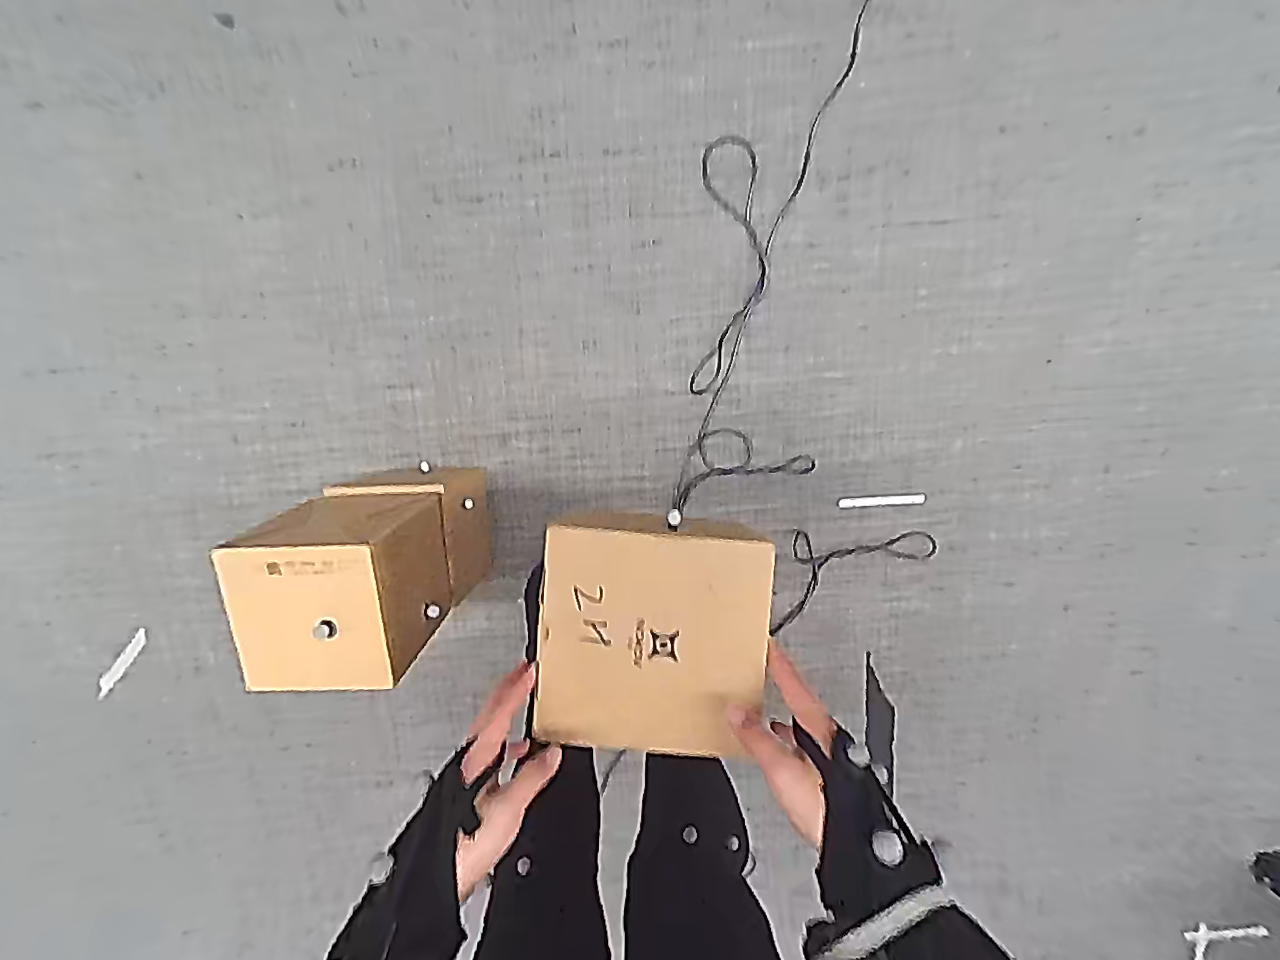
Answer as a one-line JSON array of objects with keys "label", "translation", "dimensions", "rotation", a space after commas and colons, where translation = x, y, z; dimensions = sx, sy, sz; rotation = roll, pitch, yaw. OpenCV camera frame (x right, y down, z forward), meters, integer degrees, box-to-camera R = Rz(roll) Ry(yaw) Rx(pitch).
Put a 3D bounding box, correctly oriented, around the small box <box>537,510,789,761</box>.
[{"label": "small box", "translation": [0.017, 0.118, 0.476], "dimensions": [0.179, 0.176, 0.168], "rotation": [4, 91, 1]}]
